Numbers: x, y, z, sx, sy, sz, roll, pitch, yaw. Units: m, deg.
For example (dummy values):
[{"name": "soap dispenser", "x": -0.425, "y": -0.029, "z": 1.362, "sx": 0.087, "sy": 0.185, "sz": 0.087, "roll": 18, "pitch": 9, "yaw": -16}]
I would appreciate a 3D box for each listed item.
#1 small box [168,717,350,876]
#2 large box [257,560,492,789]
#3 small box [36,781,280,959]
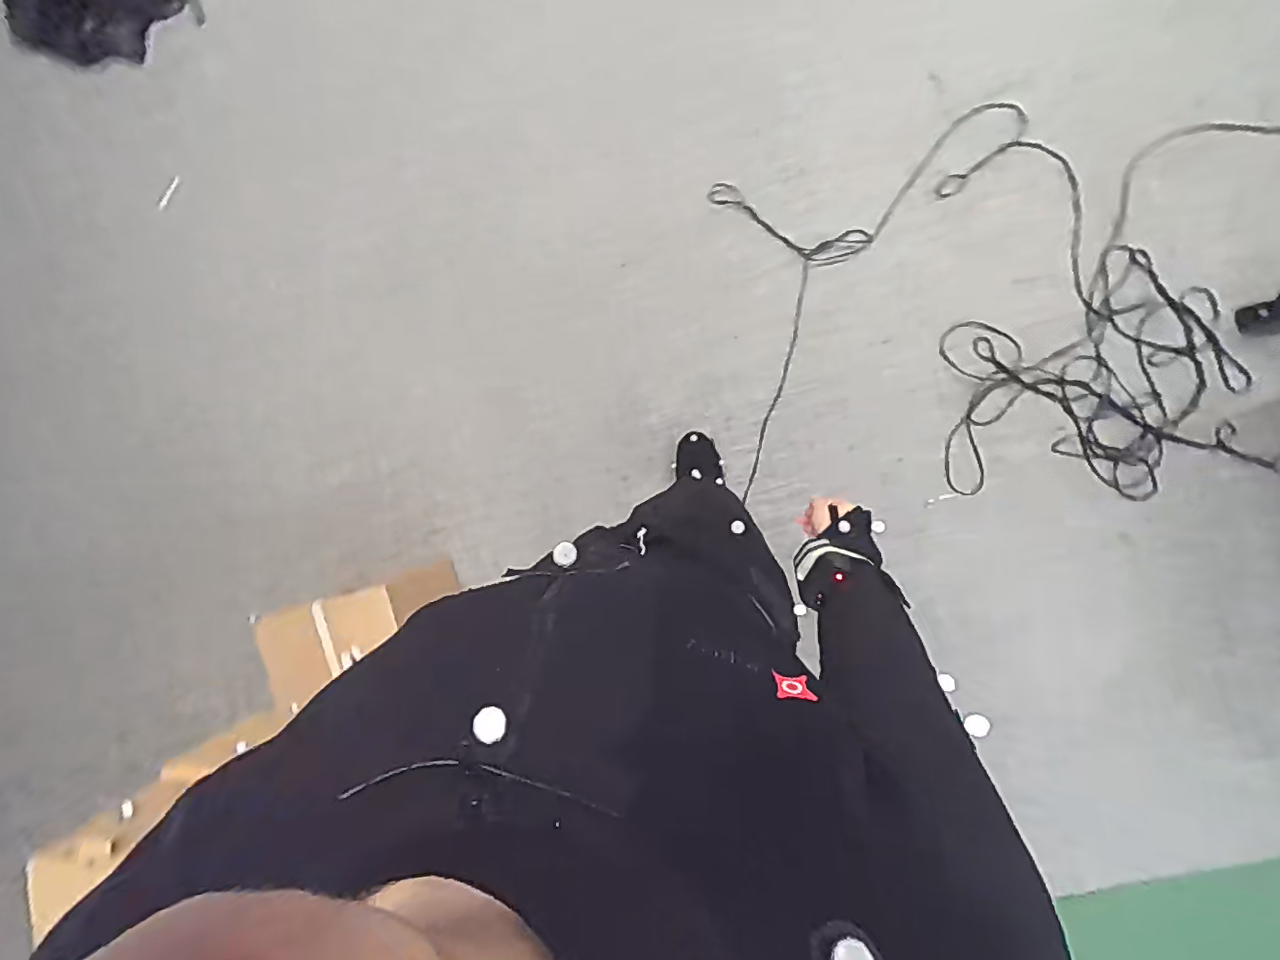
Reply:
[{"name": "small box", "x": -0.602, "y": 0.500, "z": 0.872, "sx": 0.179, "sy": 0.176, "sz": 0.168, "roll": -2, "pitch": 92, "yaw": 5}, {"name": "large box", "x": -0.596, "y": 0.442, "z": 1.277, "sx": 0.320, "sy": 0.320, "sz": 0.408, "roll": -17, "pitch": 90, "yaw": 5}, {"name": "small box", "x": -0.614, "y": 0.521, "z": 0.710, "sx": 0.168, "sy": 0.176, "sz": 0.179, "roll": -5, "pitch": 92, "yaw": 6}]
